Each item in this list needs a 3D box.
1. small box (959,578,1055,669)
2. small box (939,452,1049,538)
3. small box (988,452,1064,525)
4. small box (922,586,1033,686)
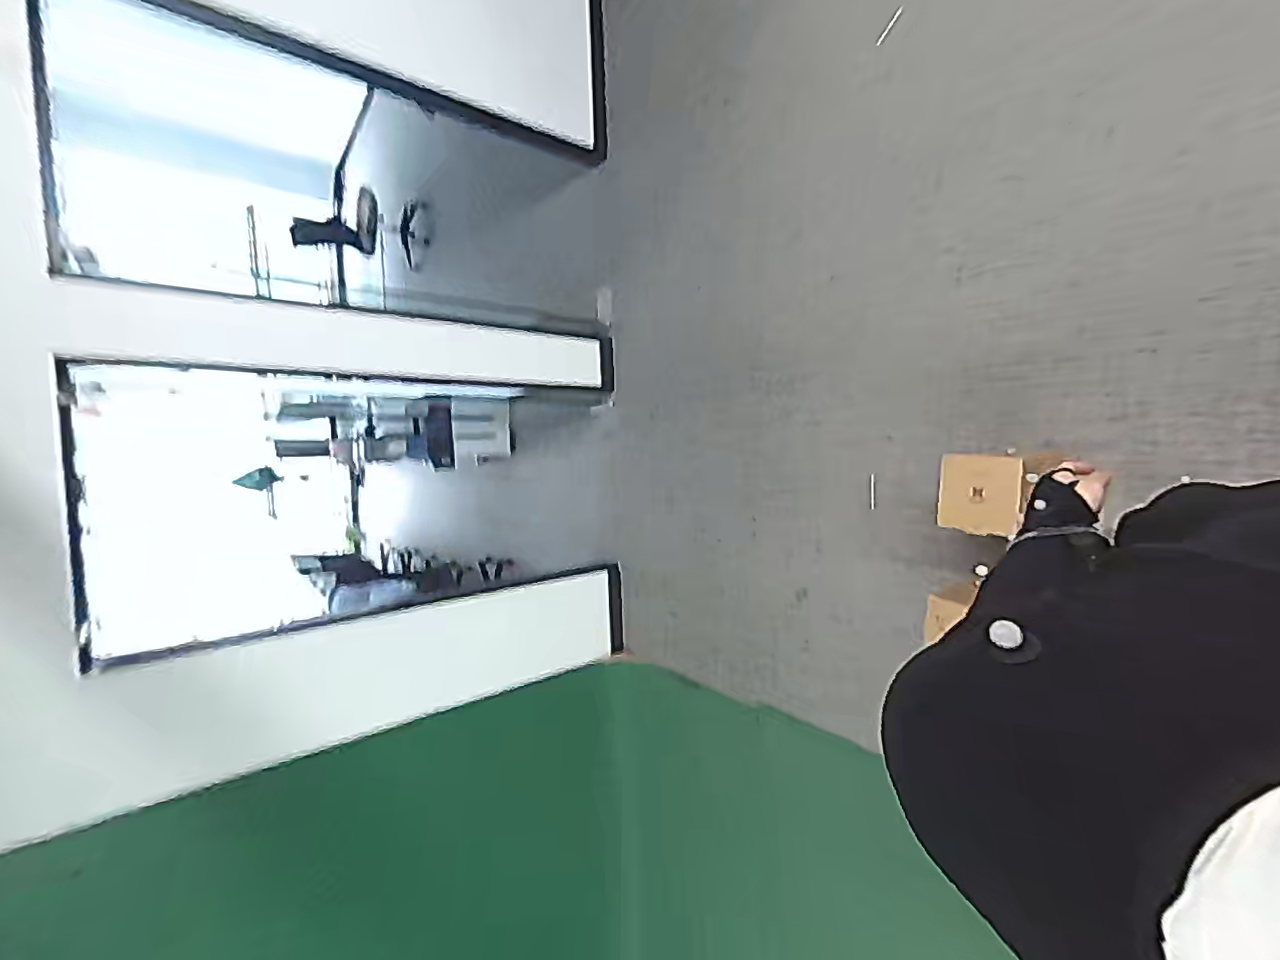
[{"bbox_3d":[0.951,0.364,1.412,0.179,0.176,0.168,10,101,53],"label":"small box"},{"bbox_3d":[0.832,0.028,1.270,0.168,0.176,0.179,9,100,52],"label":"small box"},{"bbox_3d":[0.955,0.021,1.378,0.168,0.176,0.179,6,98,52],"label":"small box"},{"bbox_3d":[0.820,0.367,1.312,0.179,0.176,0.168,13,102,52],"label":"small box"}]
